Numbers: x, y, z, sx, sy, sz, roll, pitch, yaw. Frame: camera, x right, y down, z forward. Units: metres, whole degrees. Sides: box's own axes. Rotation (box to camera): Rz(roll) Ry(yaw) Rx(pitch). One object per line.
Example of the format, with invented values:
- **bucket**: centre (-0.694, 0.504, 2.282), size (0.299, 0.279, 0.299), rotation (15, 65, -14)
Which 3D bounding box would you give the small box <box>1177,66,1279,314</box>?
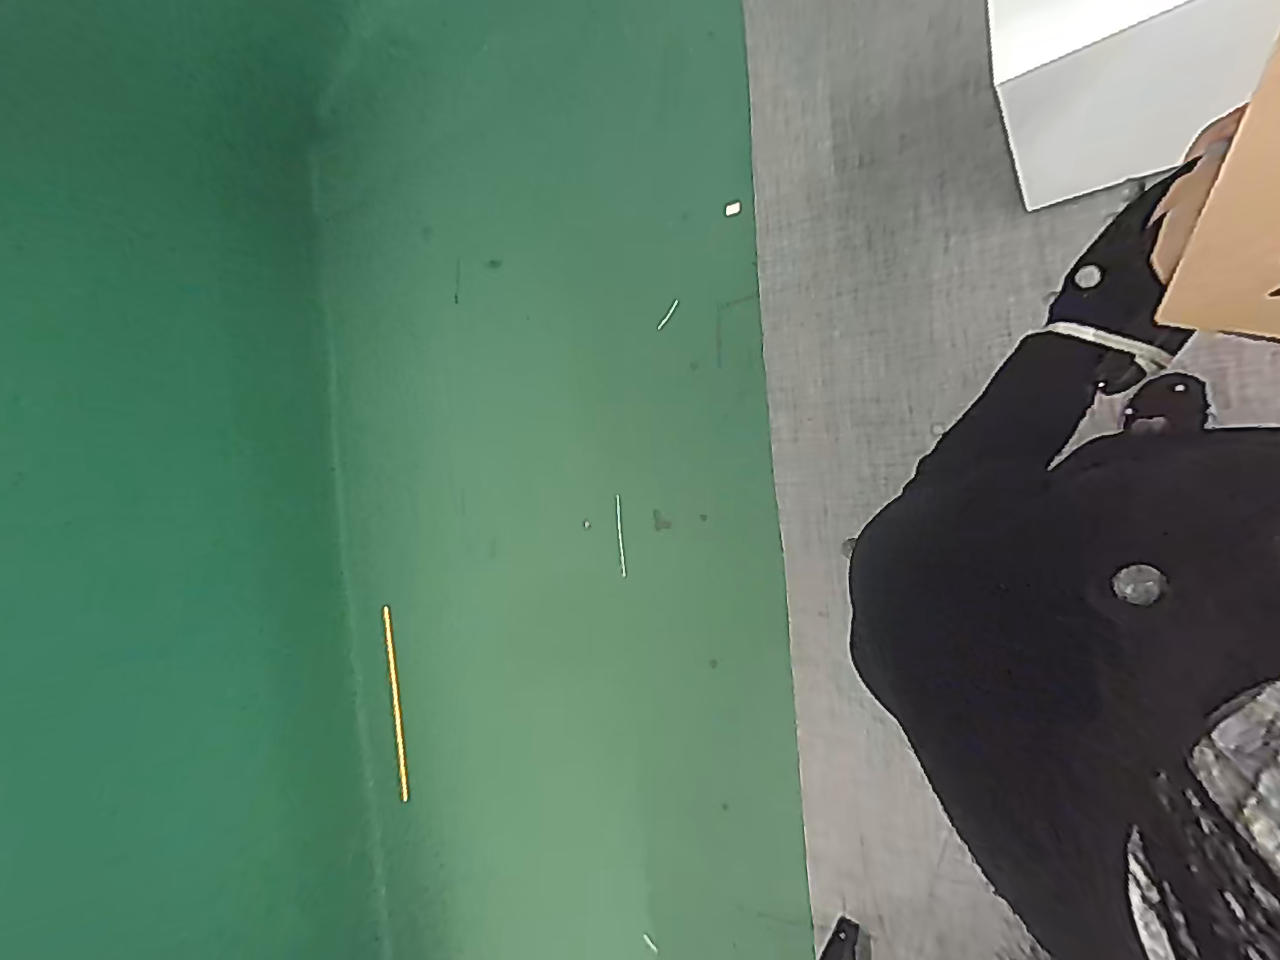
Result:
- **small box**: centre (0.439, -0.183, 0.278), size (0.168, 0.176, 0.179), rotation (31, 136, 44)
